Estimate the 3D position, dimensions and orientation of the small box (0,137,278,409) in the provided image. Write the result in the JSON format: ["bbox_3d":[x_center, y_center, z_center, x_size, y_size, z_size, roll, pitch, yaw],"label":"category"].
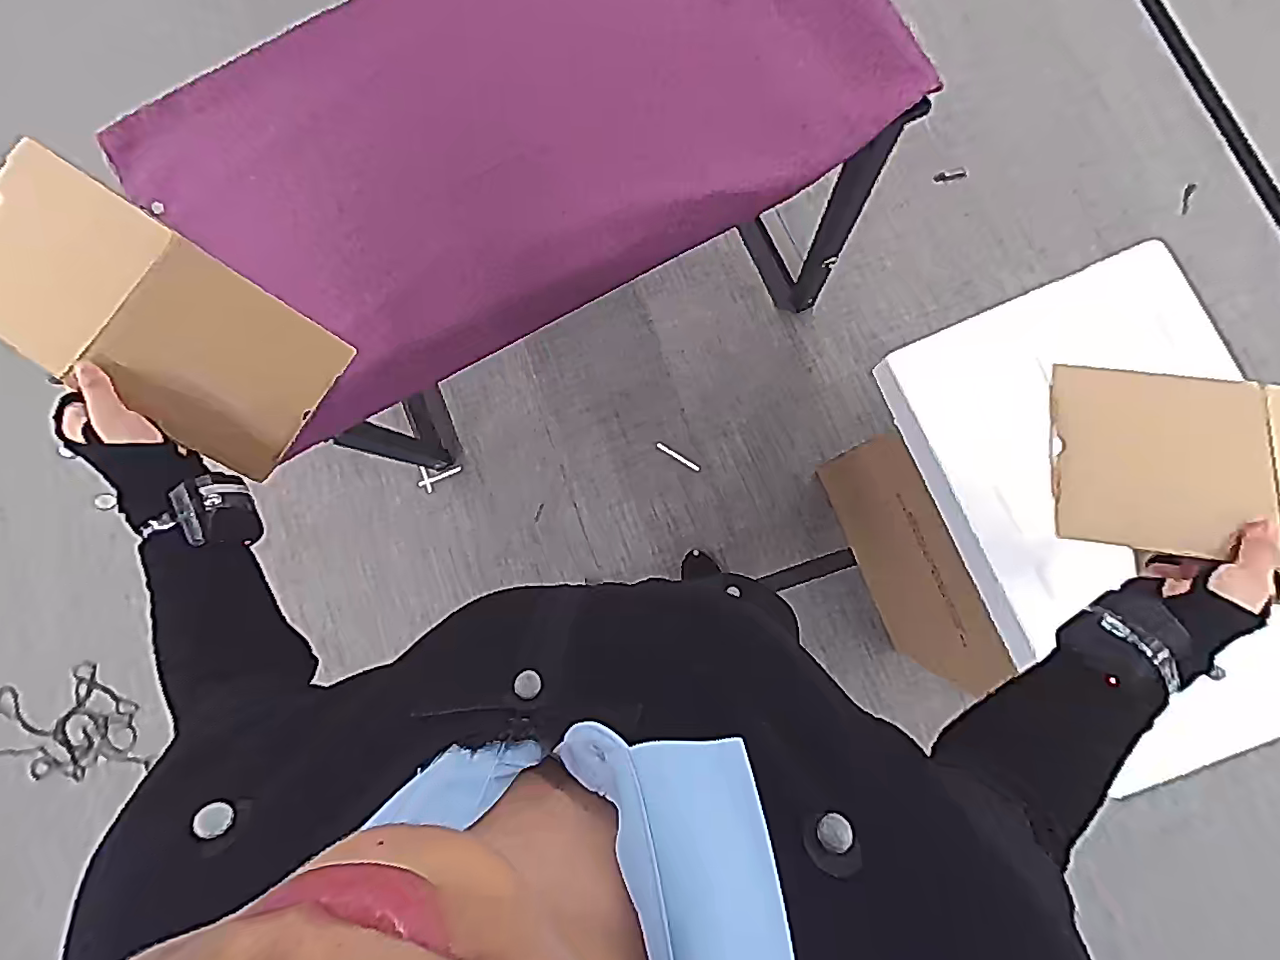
[{"bbox_3d":[-0.534,-0.192,0.560,0.179,0.176,0.168,34,83,2],"label":"small box"}]
